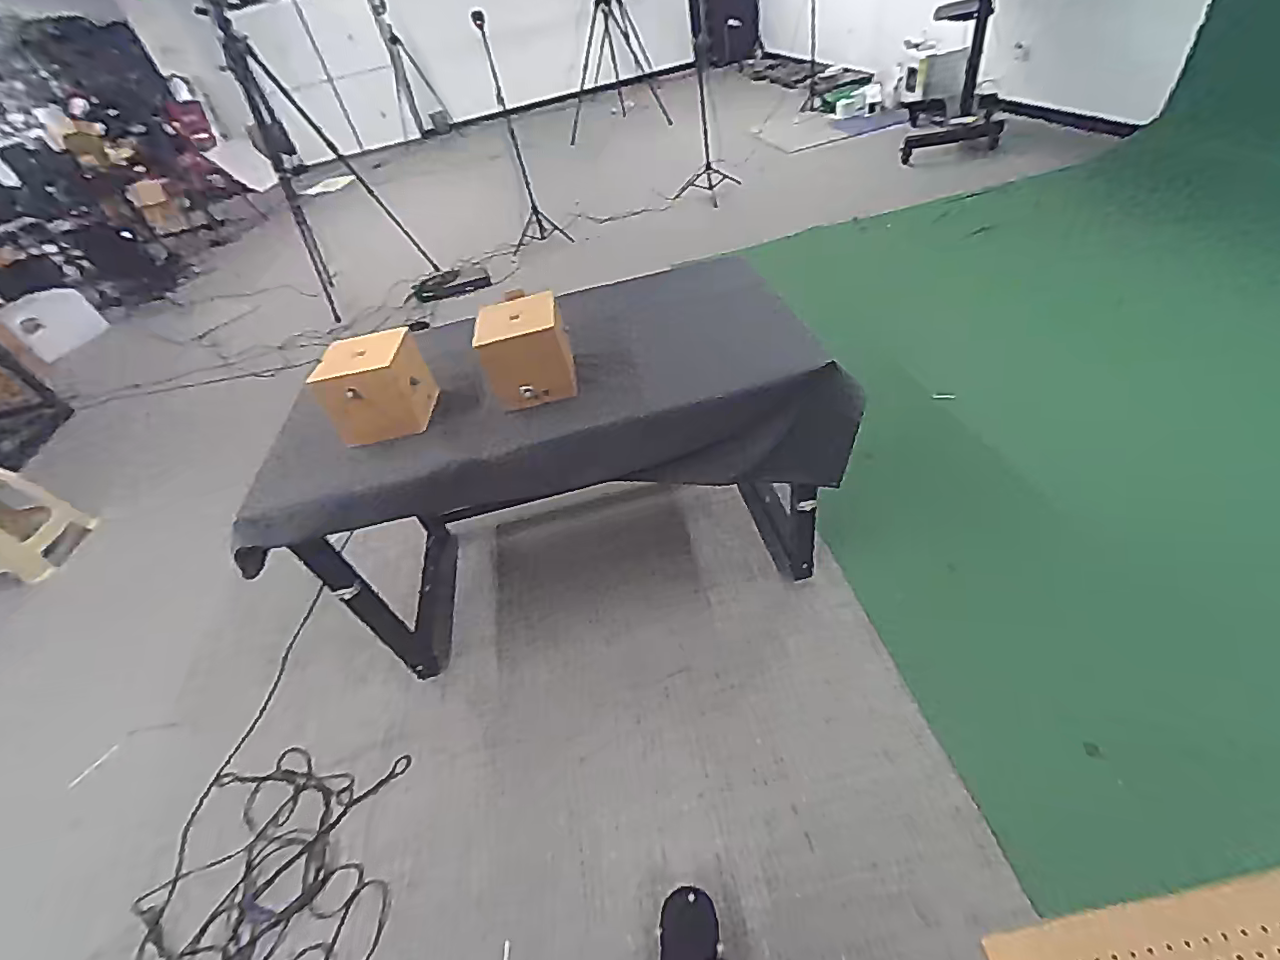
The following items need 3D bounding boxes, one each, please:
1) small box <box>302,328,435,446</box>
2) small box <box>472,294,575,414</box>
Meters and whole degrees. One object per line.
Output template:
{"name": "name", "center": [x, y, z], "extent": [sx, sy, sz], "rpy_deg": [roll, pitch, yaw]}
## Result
{"name": "small box", "center": [-0.561, -0.194, 1.148], "extent": [0.179, 0.176, 0.168], "rpy_deg": [-11, 43, 3]}
{"name": "small box", "center": [-0.242, -0.266, 1.147], "extent": [0.168, 0.176, 0.179], "rpy_deg": [-14, 43, 0]}
